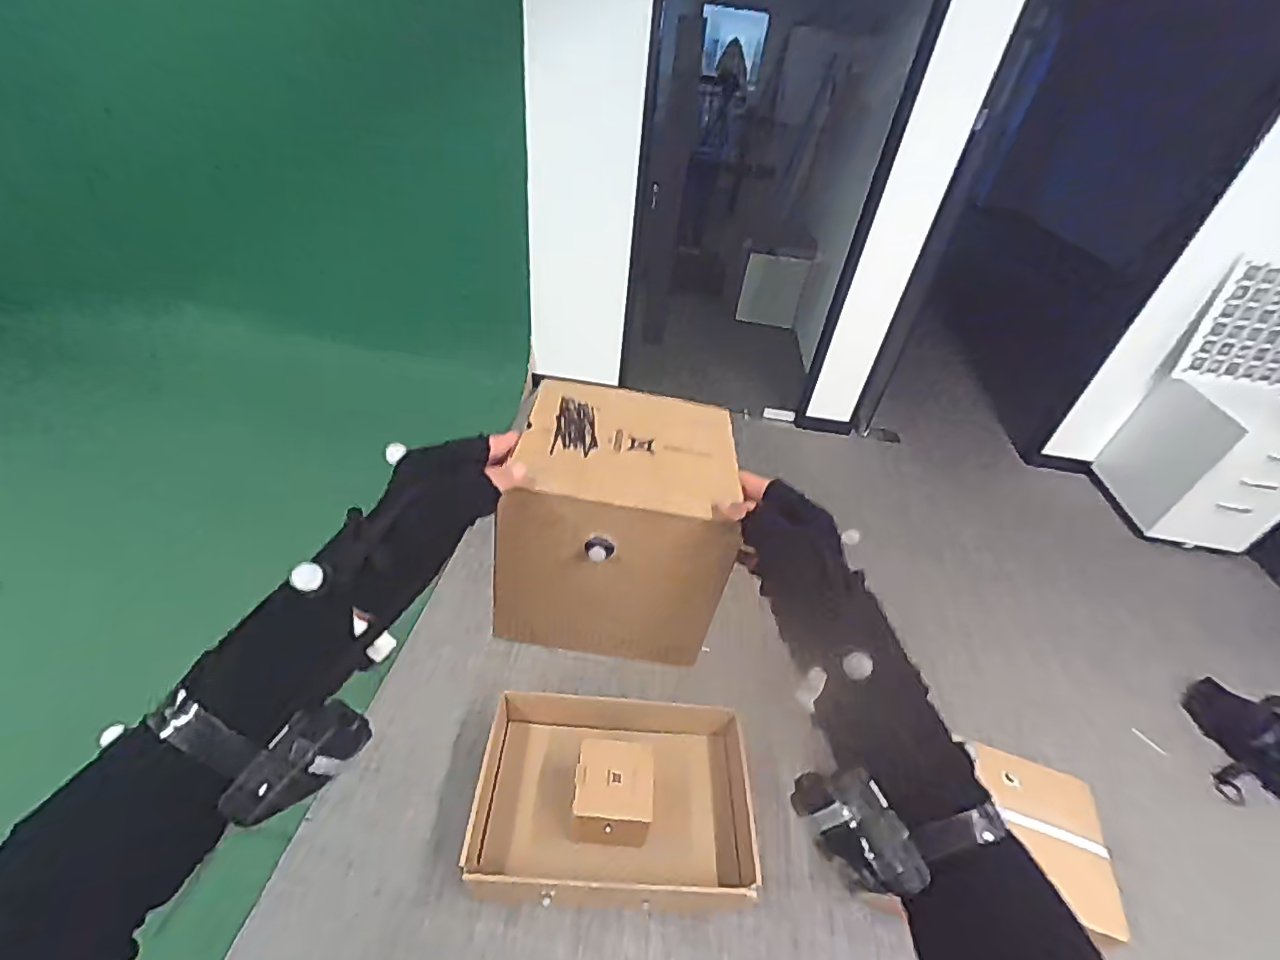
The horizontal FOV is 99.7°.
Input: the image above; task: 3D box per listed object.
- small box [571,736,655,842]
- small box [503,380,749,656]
[{"bbox_3d":[-0.064,0.729,1.273,0.179,0.176,0.168,7,40,-3],"label":"small box"},{"bbox_3d":[-0.017,0.033,0.481,0.179,0.176,0.168,10,36,-4],"label":"small box"}]
